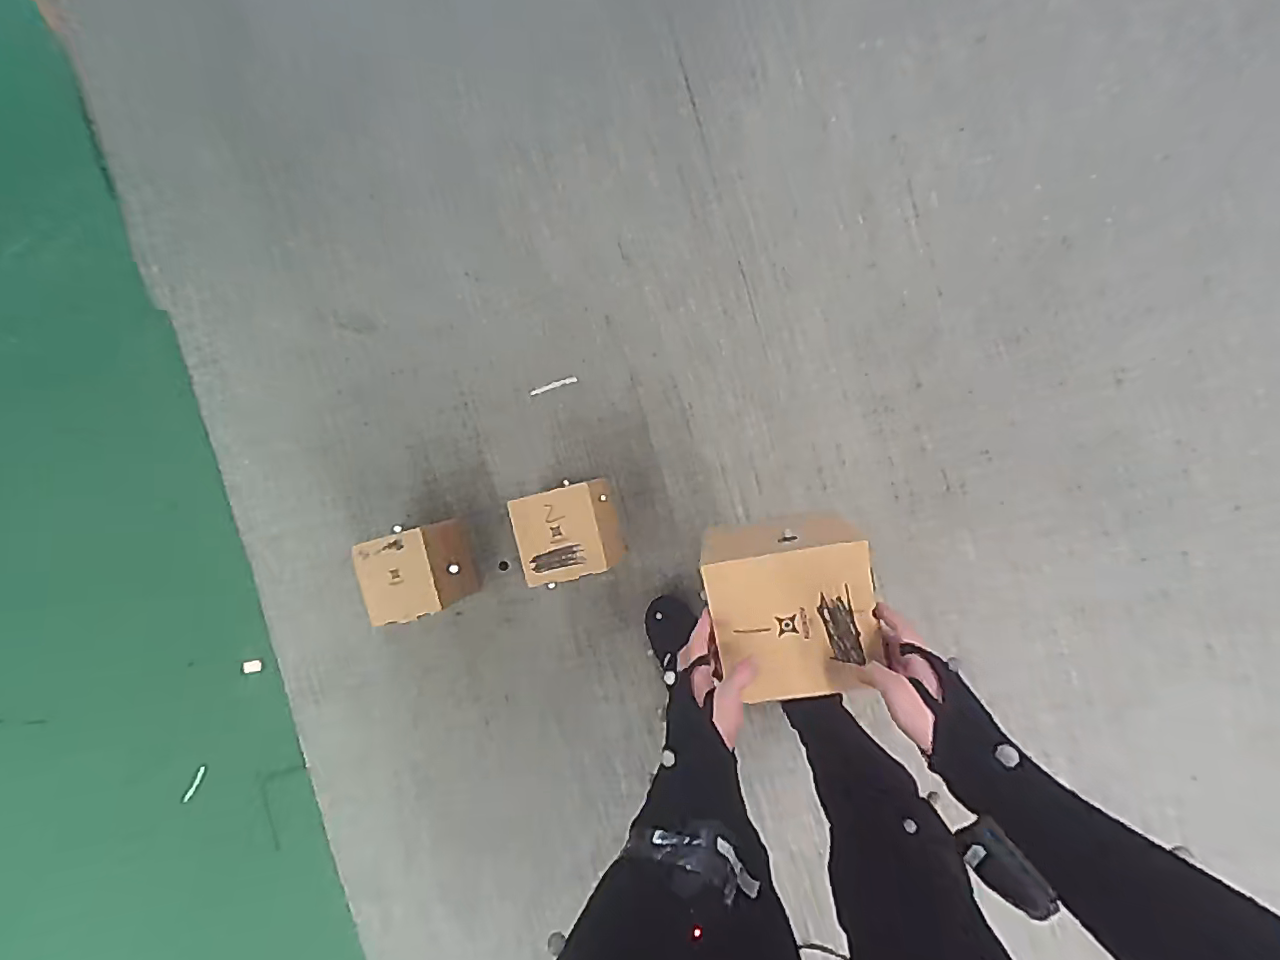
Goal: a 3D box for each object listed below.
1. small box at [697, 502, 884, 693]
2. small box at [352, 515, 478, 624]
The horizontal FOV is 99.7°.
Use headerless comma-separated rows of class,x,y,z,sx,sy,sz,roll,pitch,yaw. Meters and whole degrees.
small box,0.171,0.130,0.653,0.179,0.176,0.168,-11,97,11
small box,-0.473,0.186,1.162,0.168,0.176,0.179,-15,91,11
